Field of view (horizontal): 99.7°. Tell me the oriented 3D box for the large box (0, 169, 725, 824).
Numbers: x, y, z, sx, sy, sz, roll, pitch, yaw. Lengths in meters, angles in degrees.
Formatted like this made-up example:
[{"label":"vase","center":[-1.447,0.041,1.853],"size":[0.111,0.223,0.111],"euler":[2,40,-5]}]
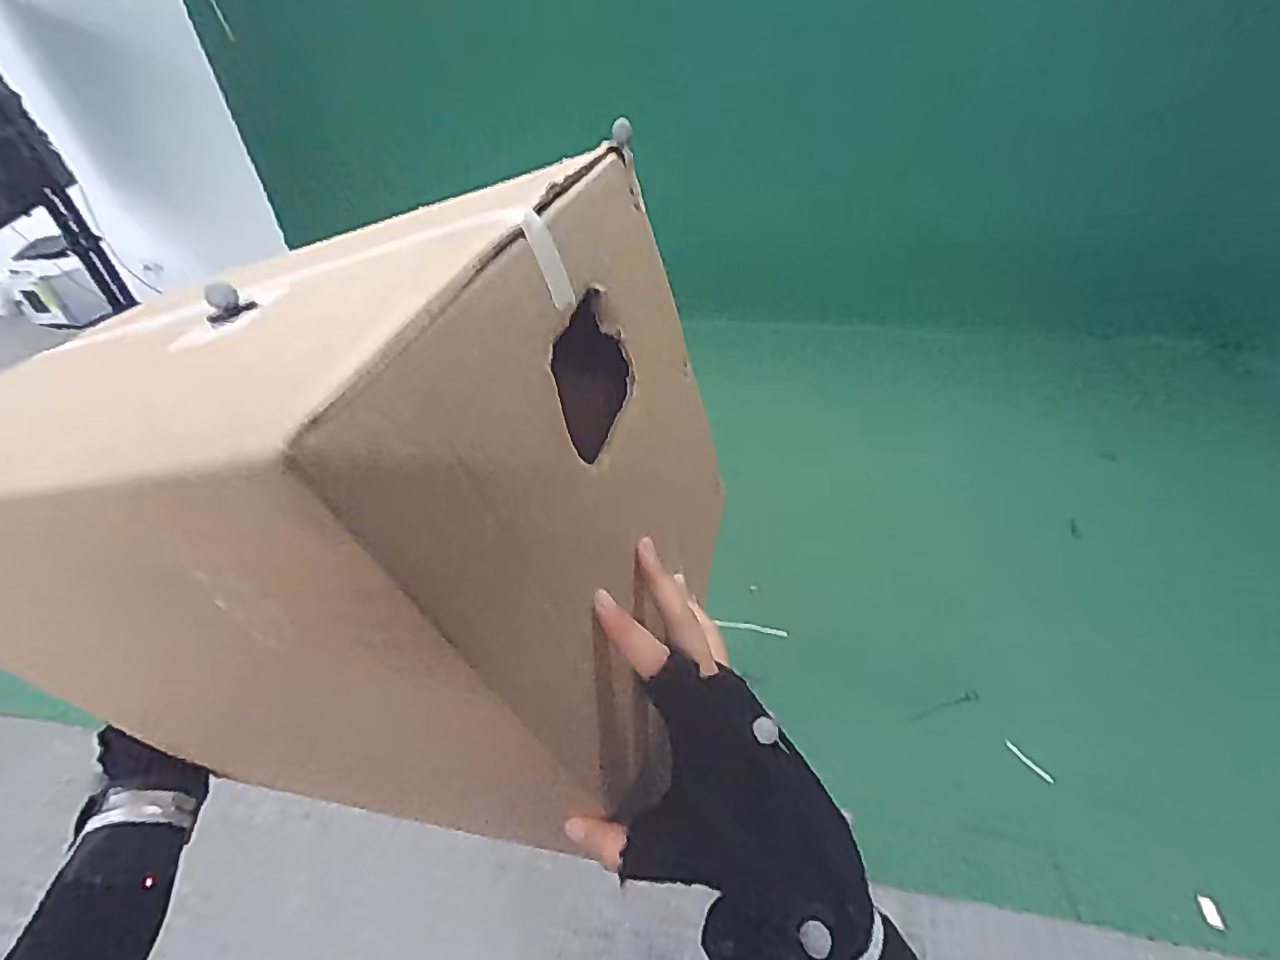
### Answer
[{"label":"large box","center":[-0.174,0.015,0.415],"size":[0.408,0.320,0.320],"euler":[-4,42,21]}]
